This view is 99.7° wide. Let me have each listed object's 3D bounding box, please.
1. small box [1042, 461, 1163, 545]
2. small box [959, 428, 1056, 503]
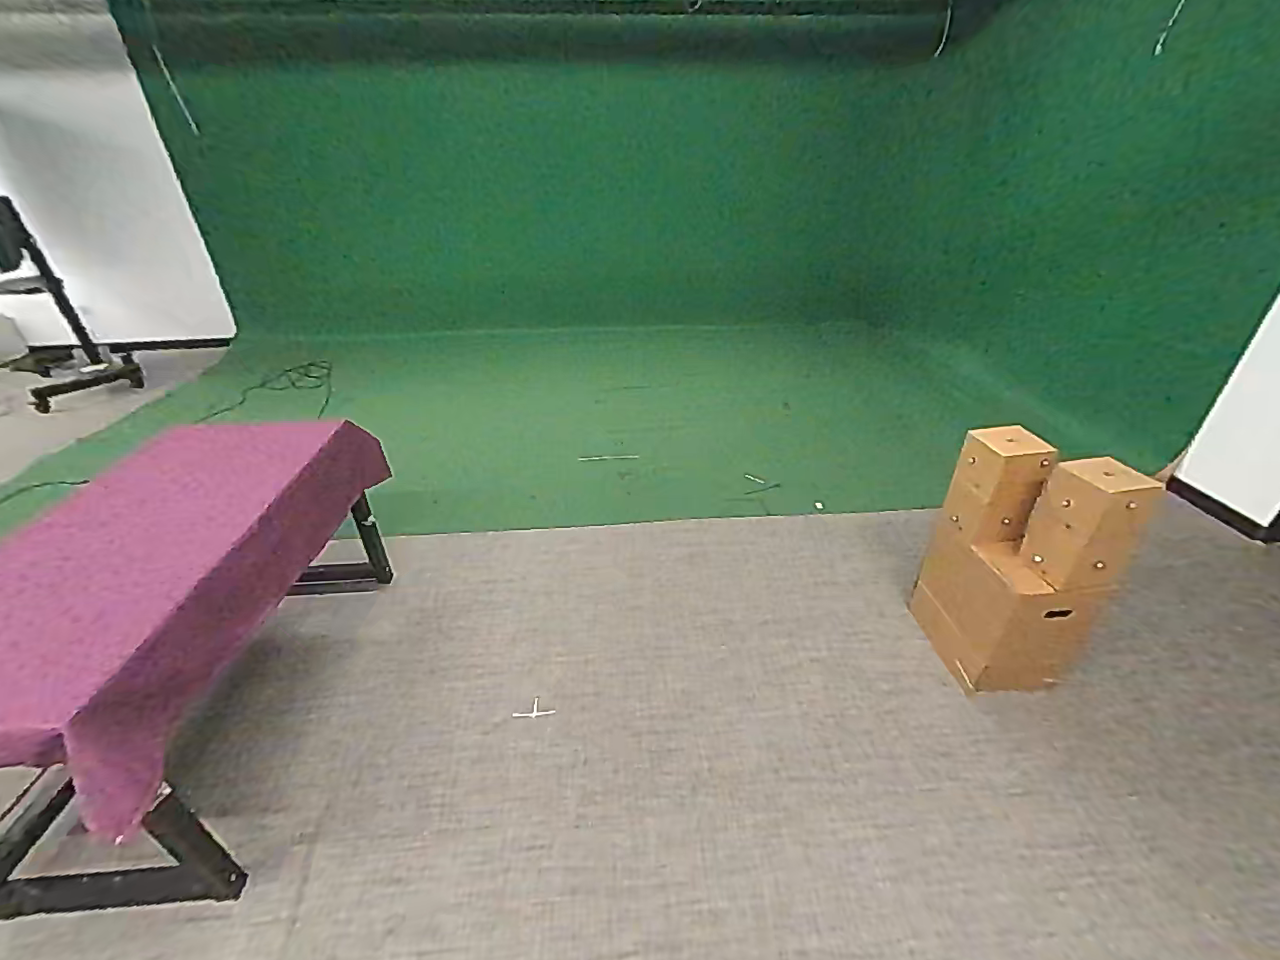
[{"bbox_3d":[1.254,0.064,1.486,0.179,0.176,0.168,-5,32,-9],"label":"small box"},{"bbox_3d":[1.116,-0.044,1.663,0.179,0.176,0.168,-6,34,-5],"label":"small box"}]
